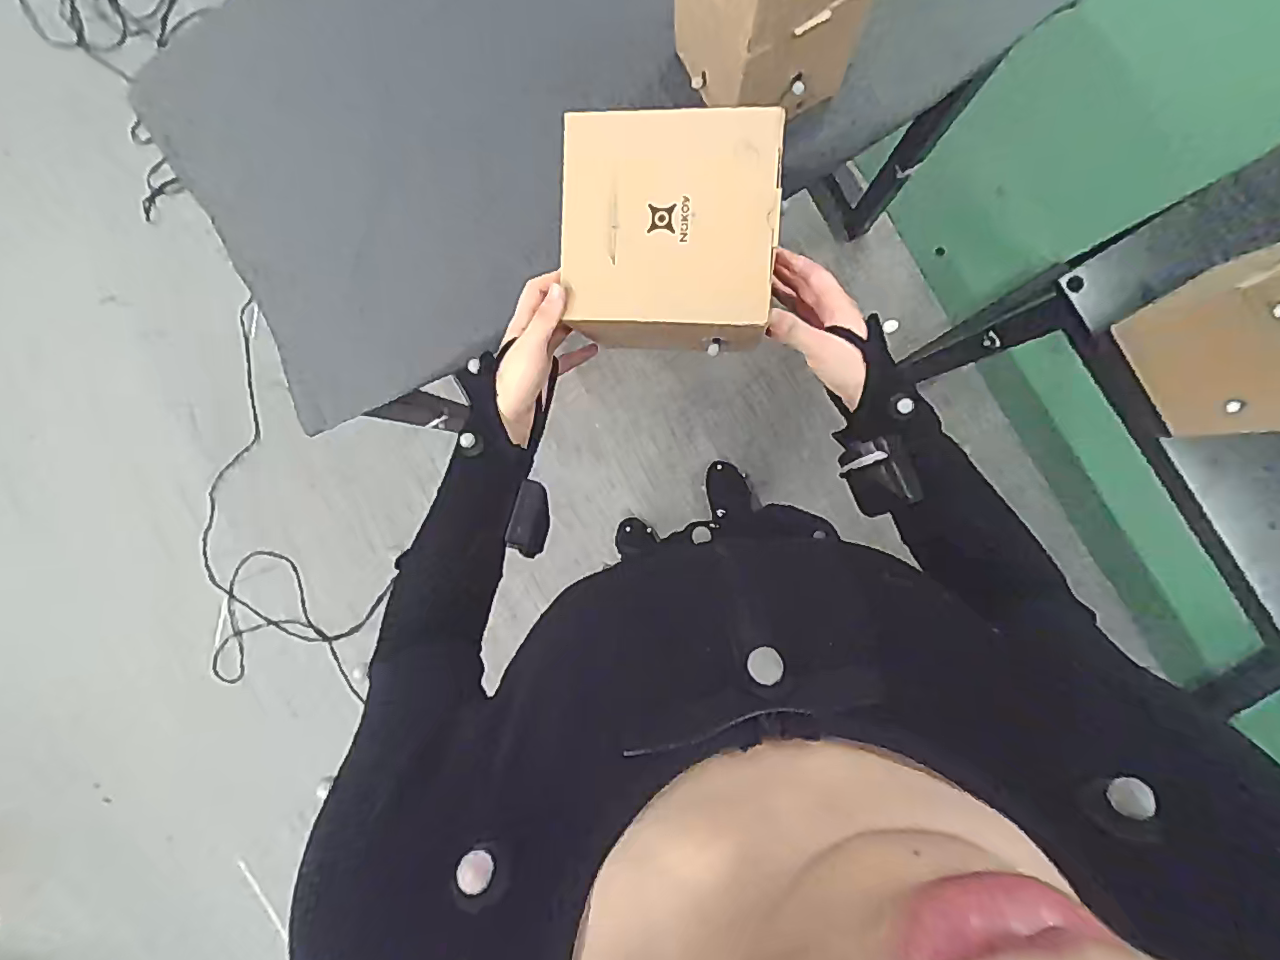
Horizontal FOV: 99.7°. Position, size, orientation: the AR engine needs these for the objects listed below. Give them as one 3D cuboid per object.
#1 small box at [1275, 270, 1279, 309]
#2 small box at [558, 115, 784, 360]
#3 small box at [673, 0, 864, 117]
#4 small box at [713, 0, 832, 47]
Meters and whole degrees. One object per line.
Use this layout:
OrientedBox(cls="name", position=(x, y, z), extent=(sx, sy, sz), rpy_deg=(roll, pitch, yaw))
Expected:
OrientedBox(cls="small box", position=(0.737, -0.170, 0.470), extent=(0.179, 0.176, 0.168), rpy_deg=(-28, 90, 3))
OrientedBox(cls="small box", position=(0.034, -0.209, 0.509), extent=(0.179, 0.176, 0.168), rpy_deg=(3, 95, 10))
OrientedBox(cls="small box", position=(0.151, -0.573, 0.674), extent=(0.168, 0.176, 0.179), rpy_deg=(-28, 88, 4))
OrientedBox(cls="small box", position=(0.145, -0.580, 0.510), extent=(0.179, 0.176, 0.168), rpy_deg=(-30, 87, 5))
